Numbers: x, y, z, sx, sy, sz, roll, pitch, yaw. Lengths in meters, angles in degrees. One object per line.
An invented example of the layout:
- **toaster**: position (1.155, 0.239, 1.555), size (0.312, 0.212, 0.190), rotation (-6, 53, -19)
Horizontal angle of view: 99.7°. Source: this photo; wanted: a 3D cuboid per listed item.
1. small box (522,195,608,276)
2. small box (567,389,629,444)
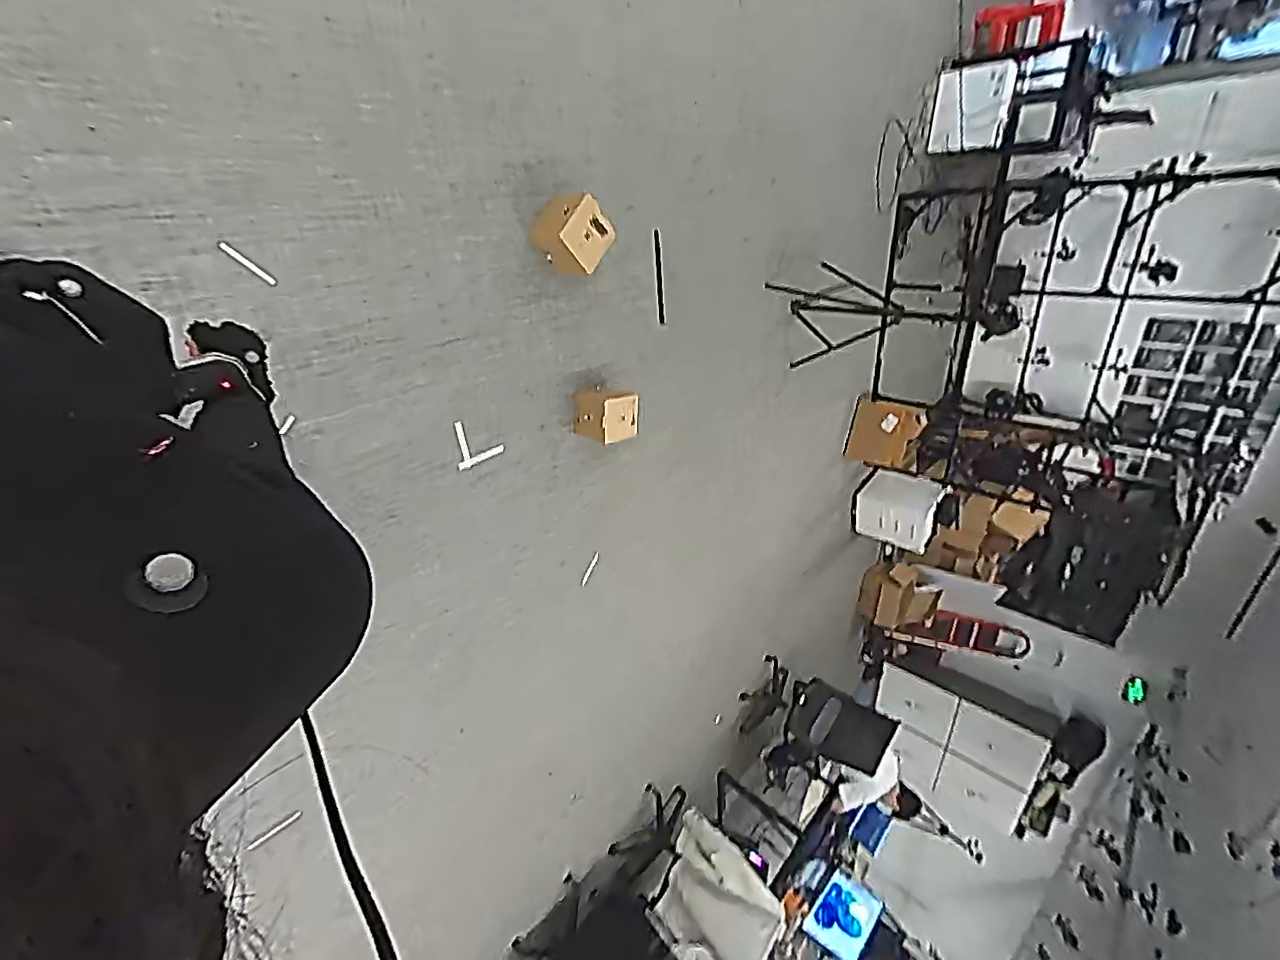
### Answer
- **small box**: position (-0.242, -0.780, 1.727), size (0.179, 0.176, 0.168), rotation (-59, 140, -11)
- **small box**: position (-0.164, -0.246, 2.056), size (0.179, 0.176, 0.168), rotation (-18, 119, -44)
